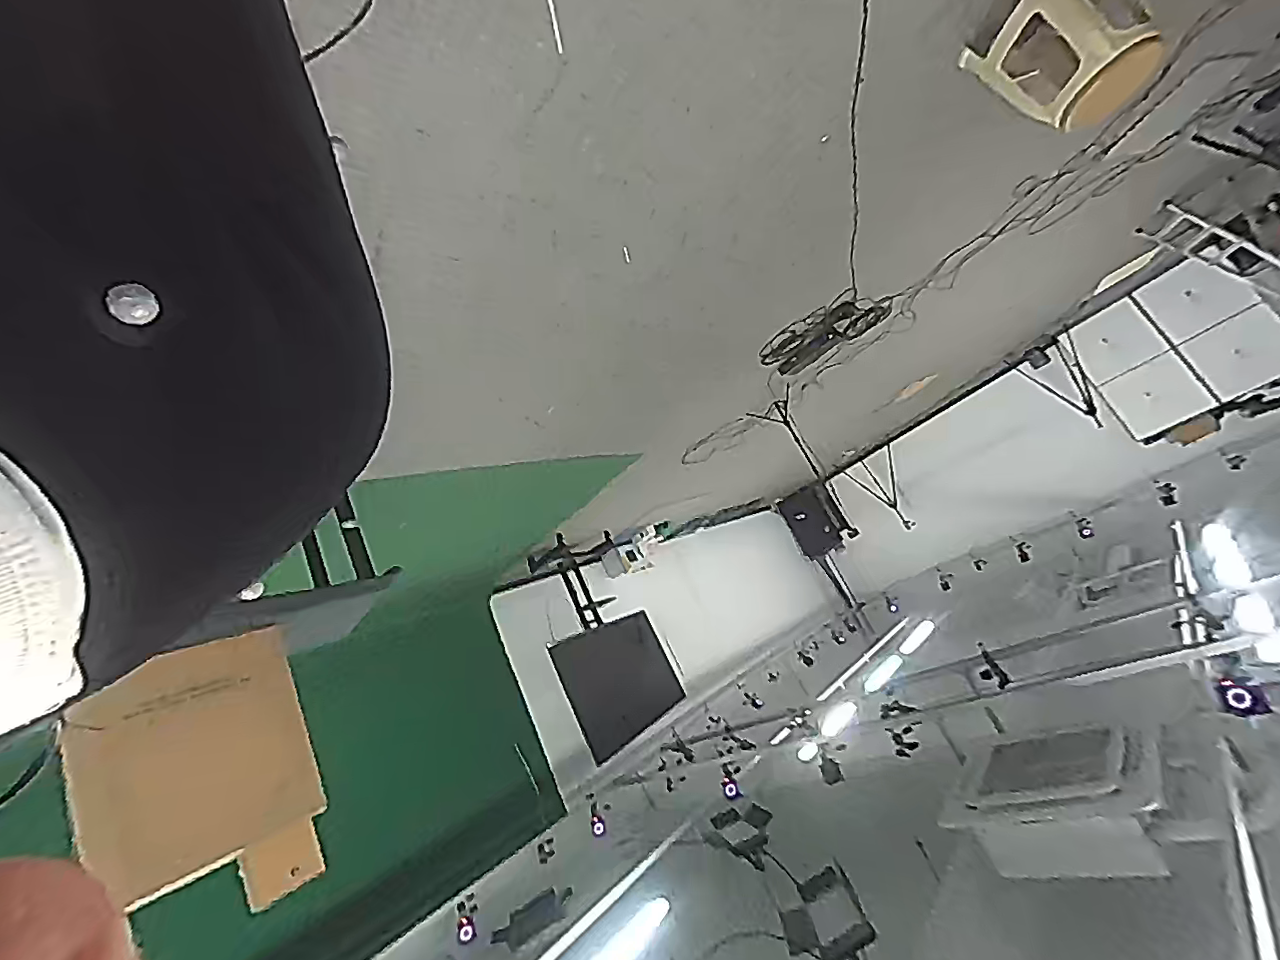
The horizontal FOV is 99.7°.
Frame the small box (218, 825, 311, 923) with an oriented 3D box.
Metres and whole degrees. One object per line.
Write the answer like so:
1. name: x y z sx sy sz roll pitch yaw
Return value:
1. small box: -1.141 1.188 1.640 0.168 0.176 0.179 -42 159 33
